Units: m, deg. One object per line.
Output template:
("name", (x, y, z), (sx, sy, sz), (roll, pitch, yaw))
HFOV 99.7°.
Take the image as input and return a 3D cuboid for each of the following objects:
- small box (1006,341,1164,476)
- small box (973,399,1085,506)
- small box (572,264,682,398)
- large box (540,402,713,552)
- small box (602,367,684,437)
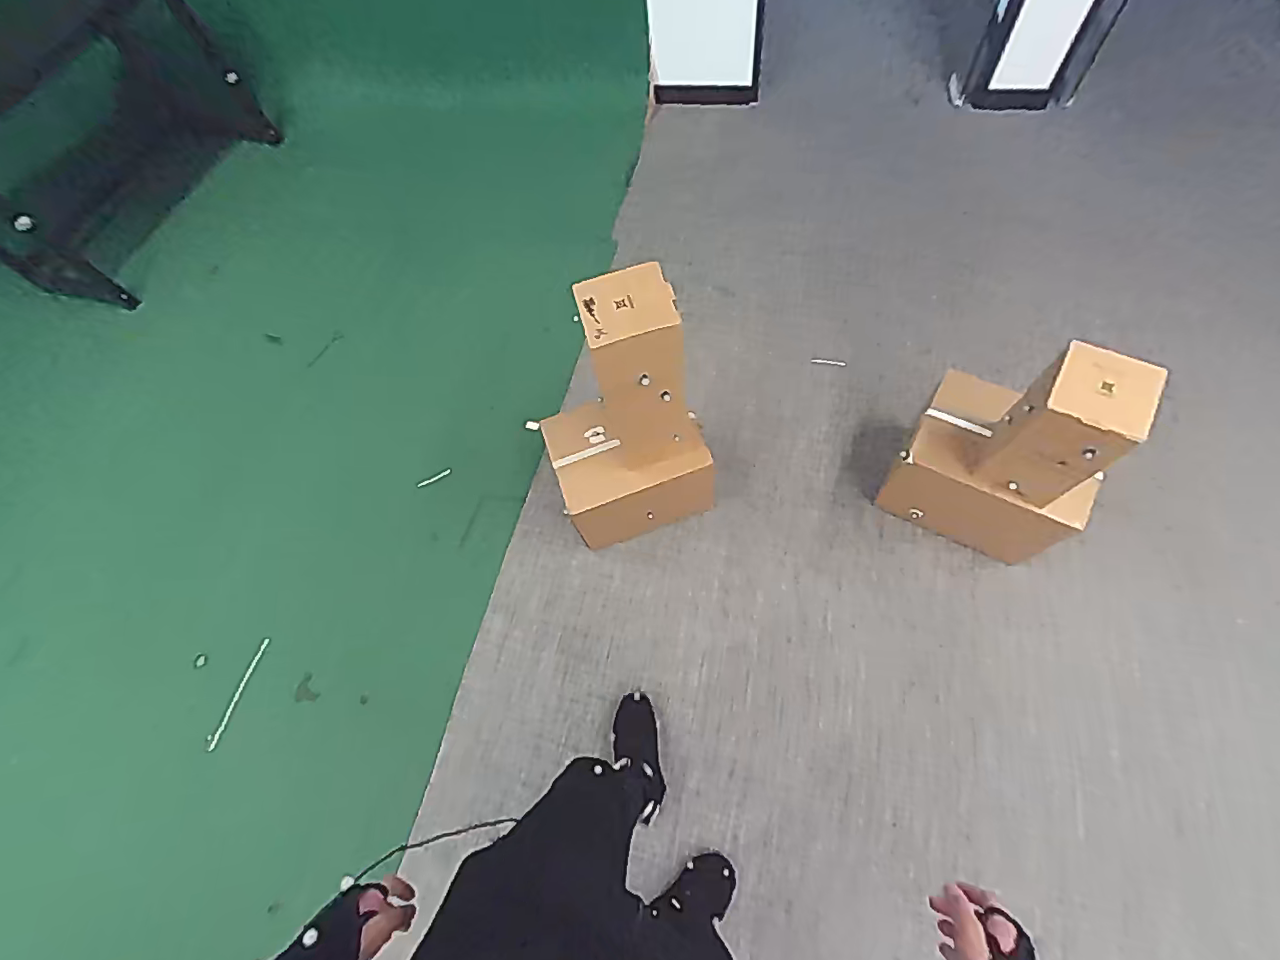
("small box", (0.868, -0.134, 1.073), (0.168, 0.176, 0.179), (28, 72, 18))
("small box", (0.892, -0.071, 1.221), (0.168, 0.176, 0.179), (29, 73, 19))
("small box", (-0.021, -0.290, 1.072), (0.179, 0.176, 0.168), (-16, 64, -2))
("large box", (-0.029, -0.035, 1.592), (0.408, 0.320, 0.320), (-21, 63, -2))
("small box", (-0.005, -0.223, 1.220), (0.179, 0.176, 0.168), (-16, 63, -1))
